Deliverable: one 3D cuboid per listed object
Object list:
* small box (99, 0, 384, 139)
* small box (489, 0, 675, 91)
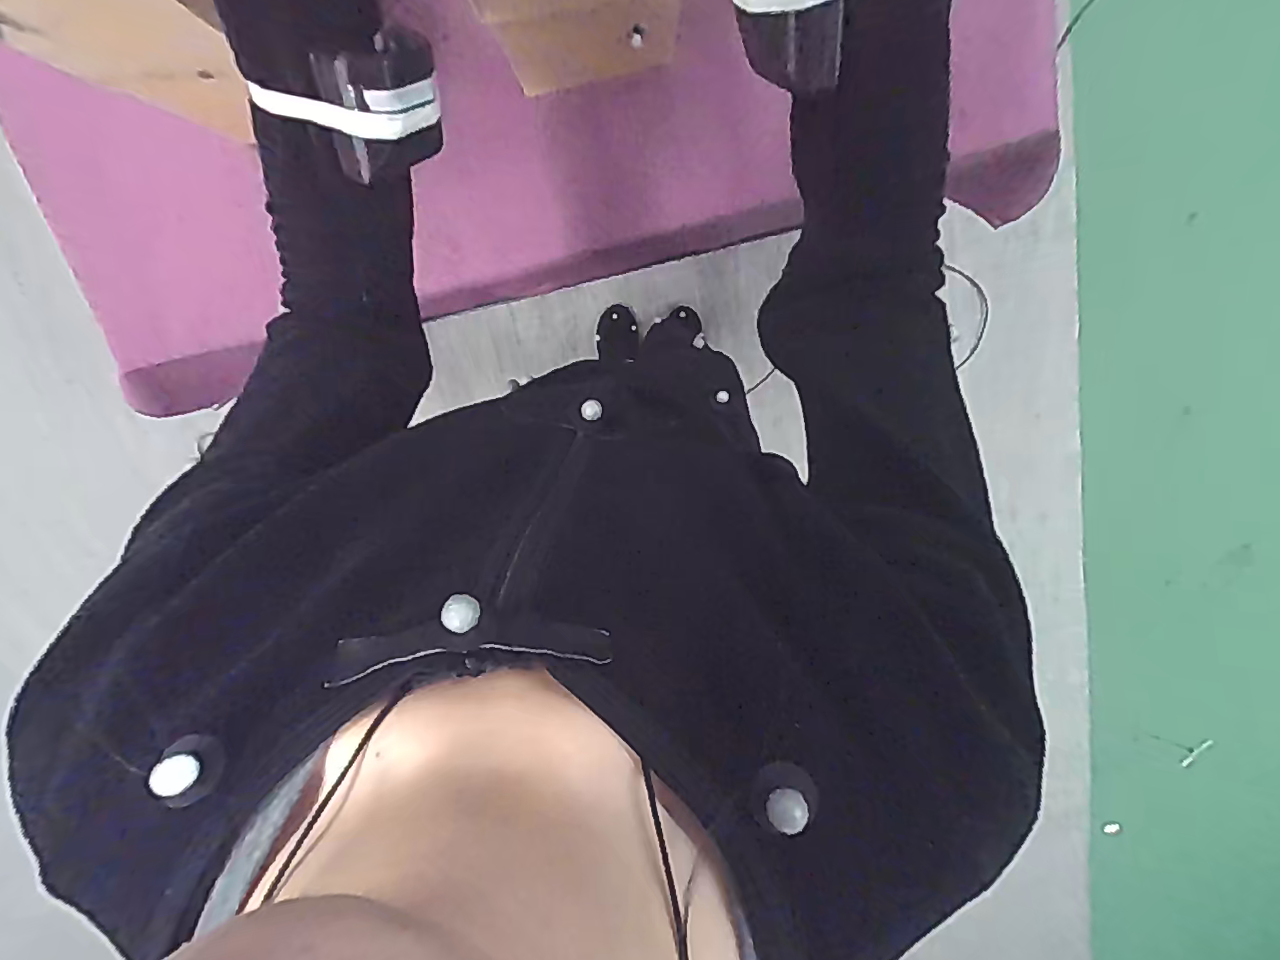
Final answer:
[{"bbox_3d":[-0.391,-0.465,0.547,0.179,0.176,0.168,-2,105,0],"label":"small box"},{"bbox_3d":[-0.064,-0.525,0.532,0.179,0.176,0.168,-11,104,3],"label":"small box"}]
